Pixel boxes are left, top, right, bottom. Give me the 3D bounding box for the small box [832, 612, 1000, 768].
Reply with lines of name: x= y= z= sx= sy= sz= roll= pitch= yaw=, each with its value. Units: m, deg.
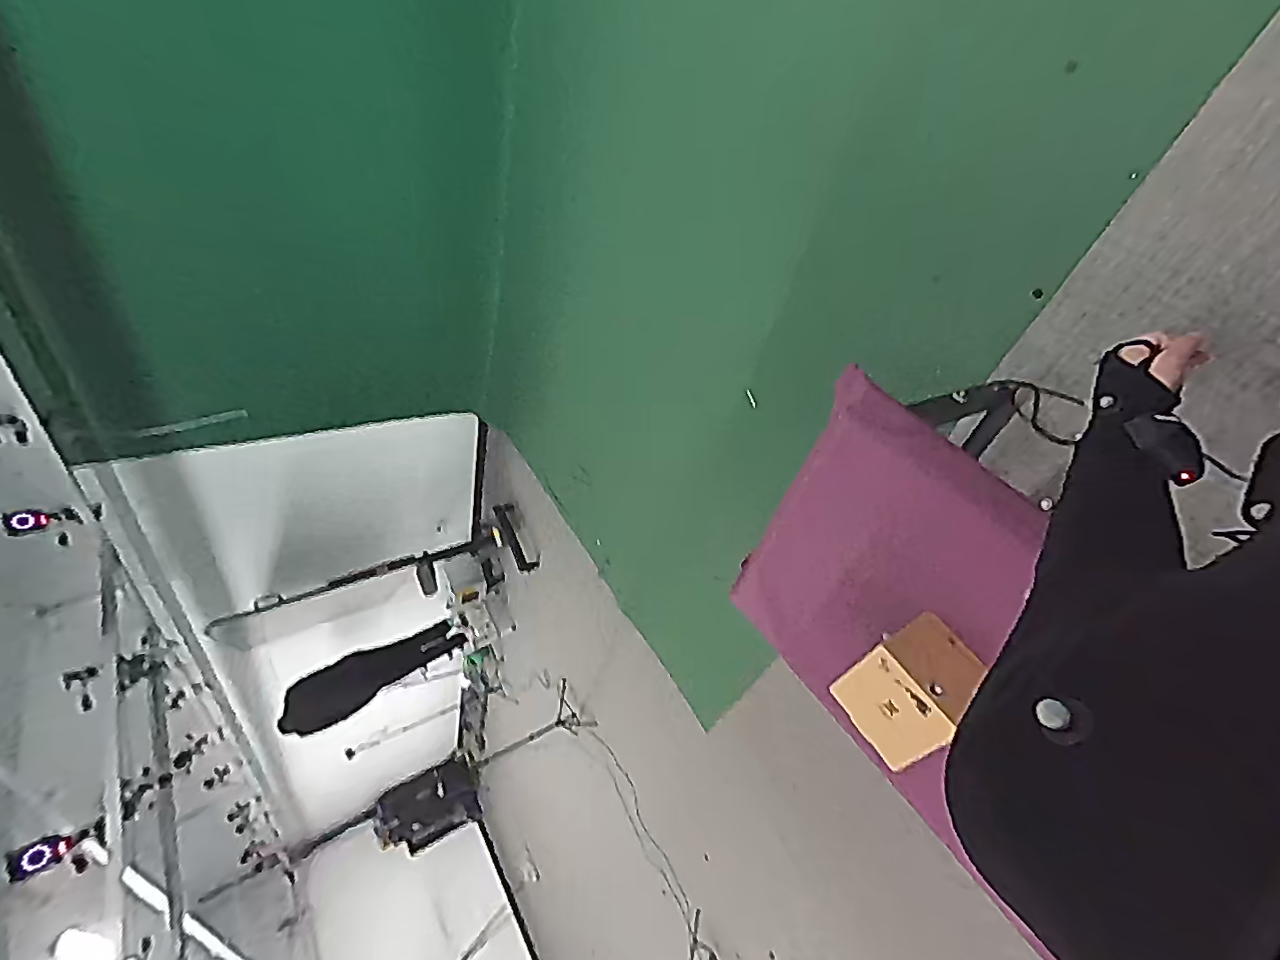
small box: x=0.487 y=0.367 z=0.957 sx=0.168 sy=0.176 sz=0.179 roll=52 pitch=140 yaw=29
